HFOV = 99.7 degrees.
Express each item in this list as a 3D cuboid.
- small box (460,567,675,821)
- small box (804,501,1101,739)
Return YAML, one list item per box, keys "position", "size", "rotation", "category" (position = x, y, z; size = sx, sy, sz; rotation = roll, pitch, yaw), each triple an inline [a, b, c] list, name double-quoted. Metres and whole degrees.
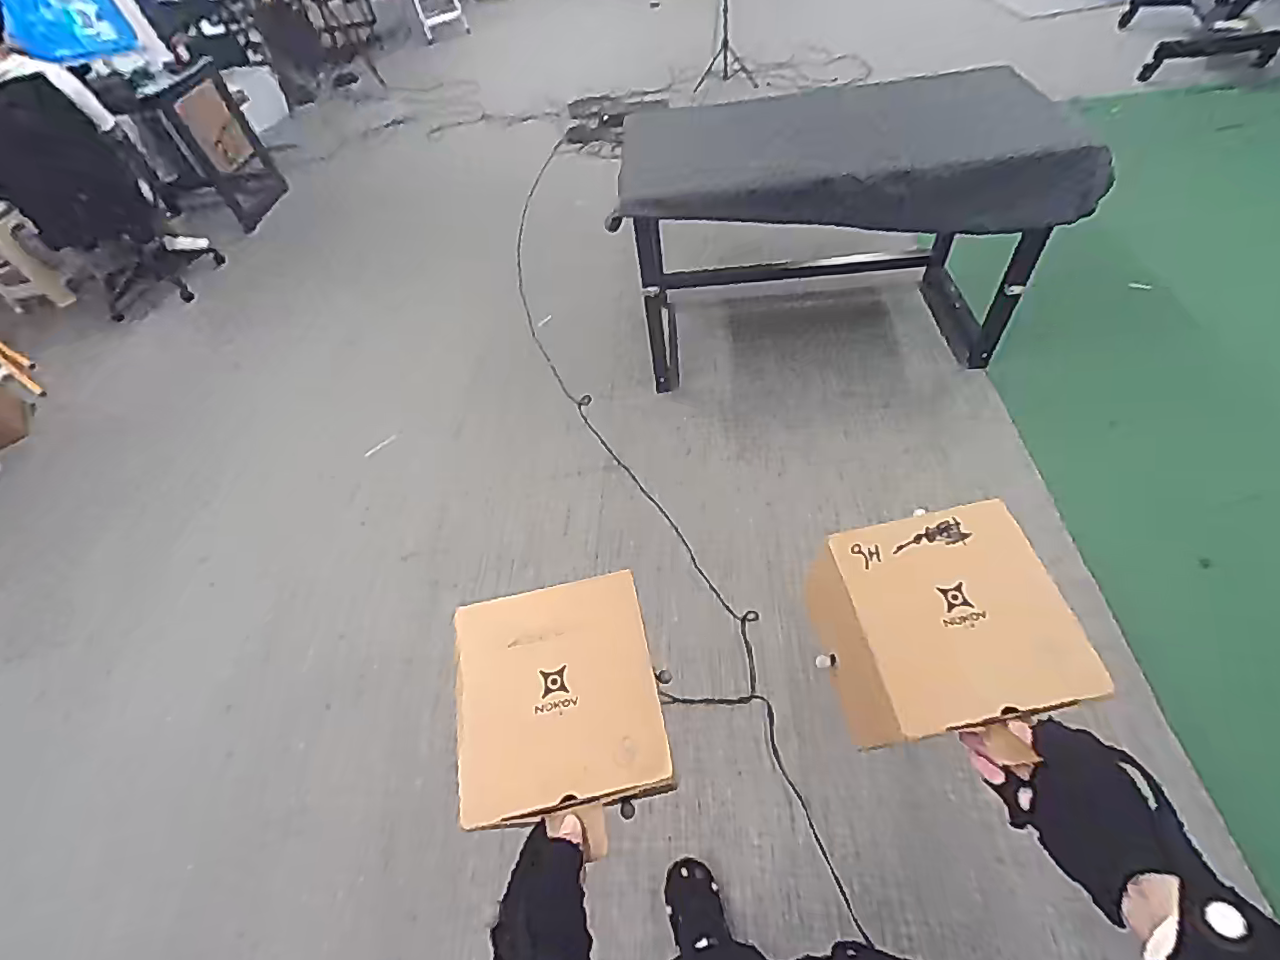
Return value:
- position: [-0.063, 0.211, 0.523]
  size: [0.168, 0.176, 0.179]
  rotation: [-12, 57, -4]
  category: "small box"
- position: [0.275, 0.147, 0.530]
  size: [0.168, 0.176, 0.179]
  rotation: [-12, 60, 0]
  category: "small box"
